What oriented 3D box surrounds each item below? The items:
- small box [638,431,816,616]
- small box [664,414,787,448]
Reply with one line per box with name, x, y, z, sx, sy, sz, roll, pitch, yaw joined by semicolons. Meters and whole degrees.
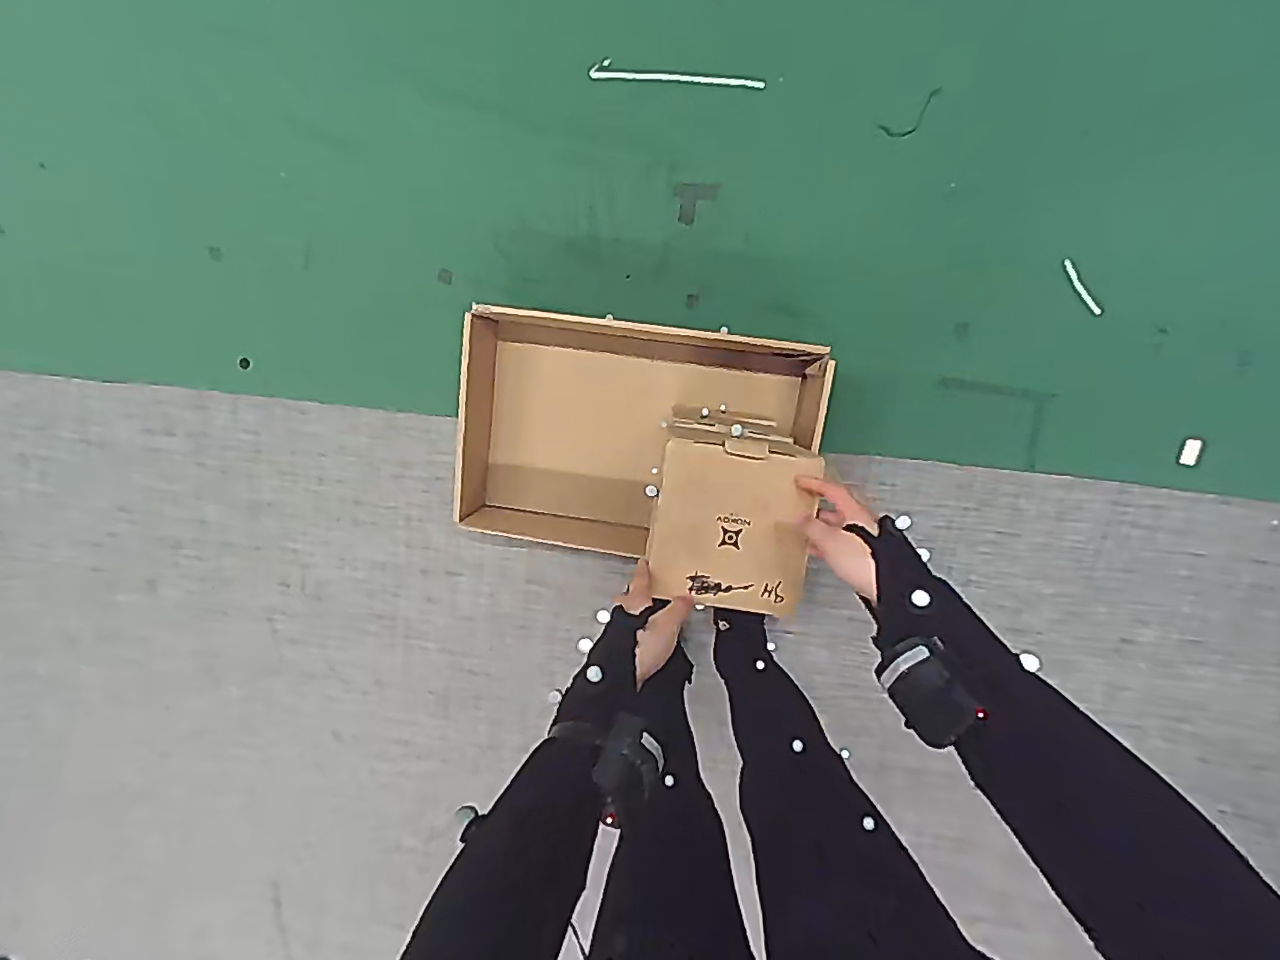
small box;0.091;0.038;0.638;0.168;0.176;0.179;7;98;2
small box;0.106;0.001;0.803;0.168;0.176;0.179;10;102;4
